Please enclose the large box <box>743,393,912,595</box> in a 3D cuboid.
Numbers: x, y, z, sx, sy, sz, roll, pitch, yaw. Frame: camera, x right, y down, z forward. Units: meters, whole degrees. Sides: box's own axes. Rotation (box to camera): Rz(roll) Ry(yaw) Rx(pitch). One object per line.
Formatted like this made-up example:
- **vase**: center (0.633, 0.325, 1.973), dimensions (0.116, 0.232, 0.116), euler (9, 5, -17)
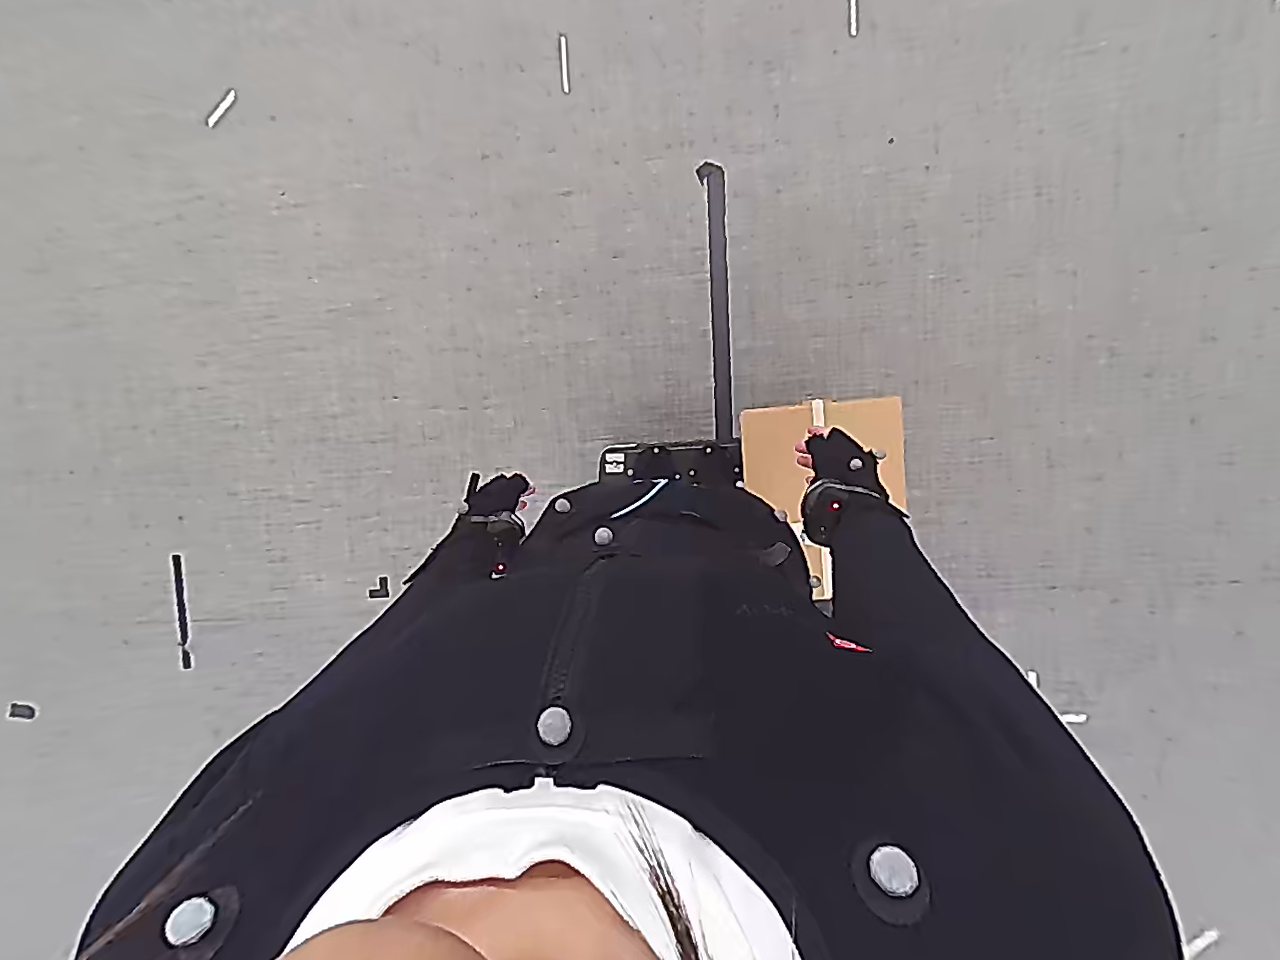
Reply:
- **large box**: center (0.413, 0.020, 1.249), dimensions (0.320, 0.320, 0.408), euler (-4, 96, 14)
